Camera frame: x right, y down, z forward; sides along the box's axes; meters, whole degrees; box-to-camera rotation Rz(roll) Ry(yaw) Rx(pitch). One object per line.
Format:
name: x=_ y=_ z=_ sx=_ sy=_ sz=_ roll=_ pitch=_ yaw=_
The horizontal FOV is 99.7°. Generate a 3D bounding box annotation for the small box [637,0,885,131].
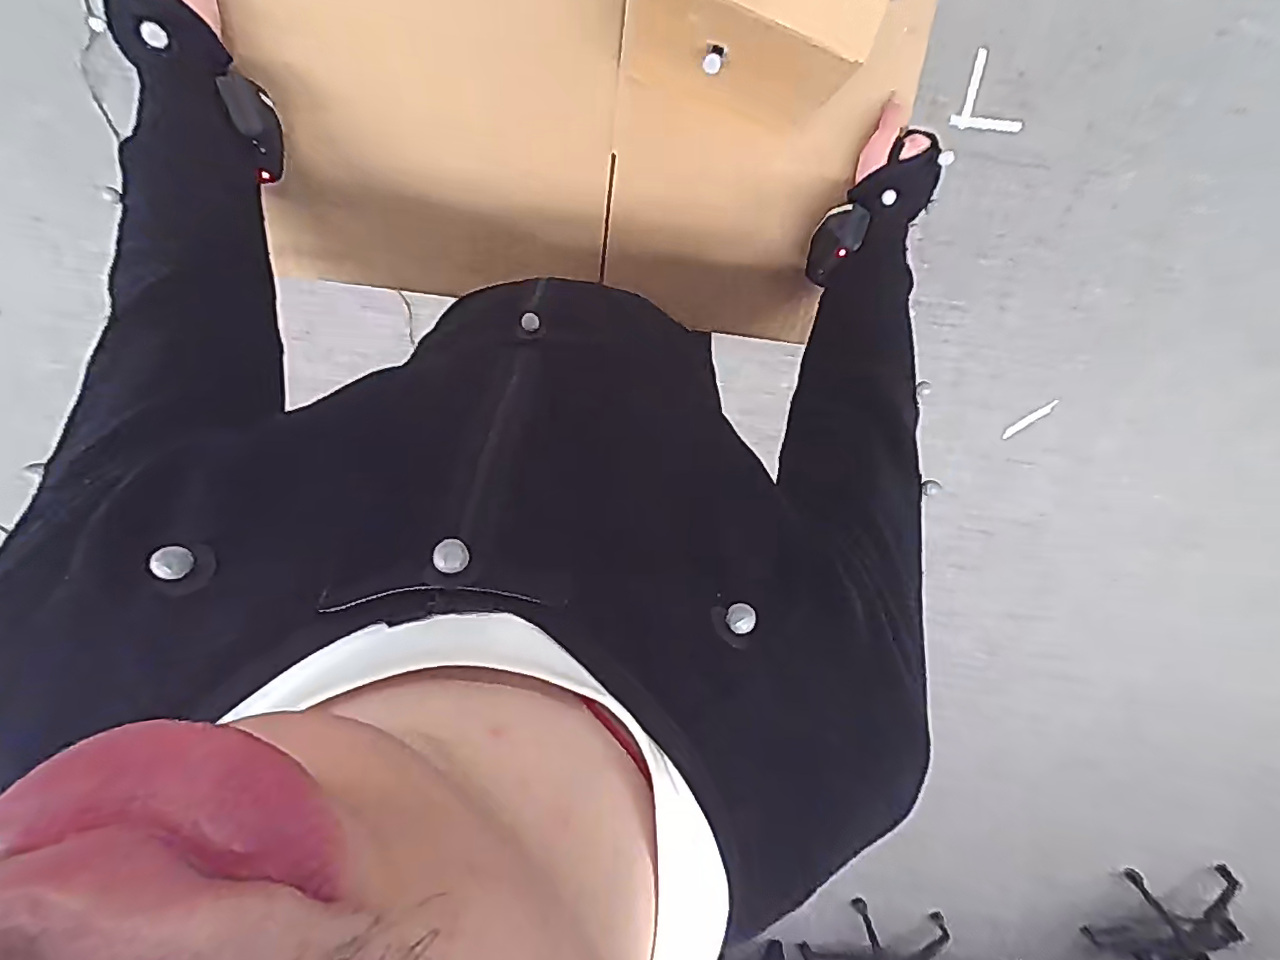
small box: x=0.102 y=-0.426 z=0.446 sx=0.179 sy=0.176 sz=0.168 roll=17 pitch=104 yaw=-8
